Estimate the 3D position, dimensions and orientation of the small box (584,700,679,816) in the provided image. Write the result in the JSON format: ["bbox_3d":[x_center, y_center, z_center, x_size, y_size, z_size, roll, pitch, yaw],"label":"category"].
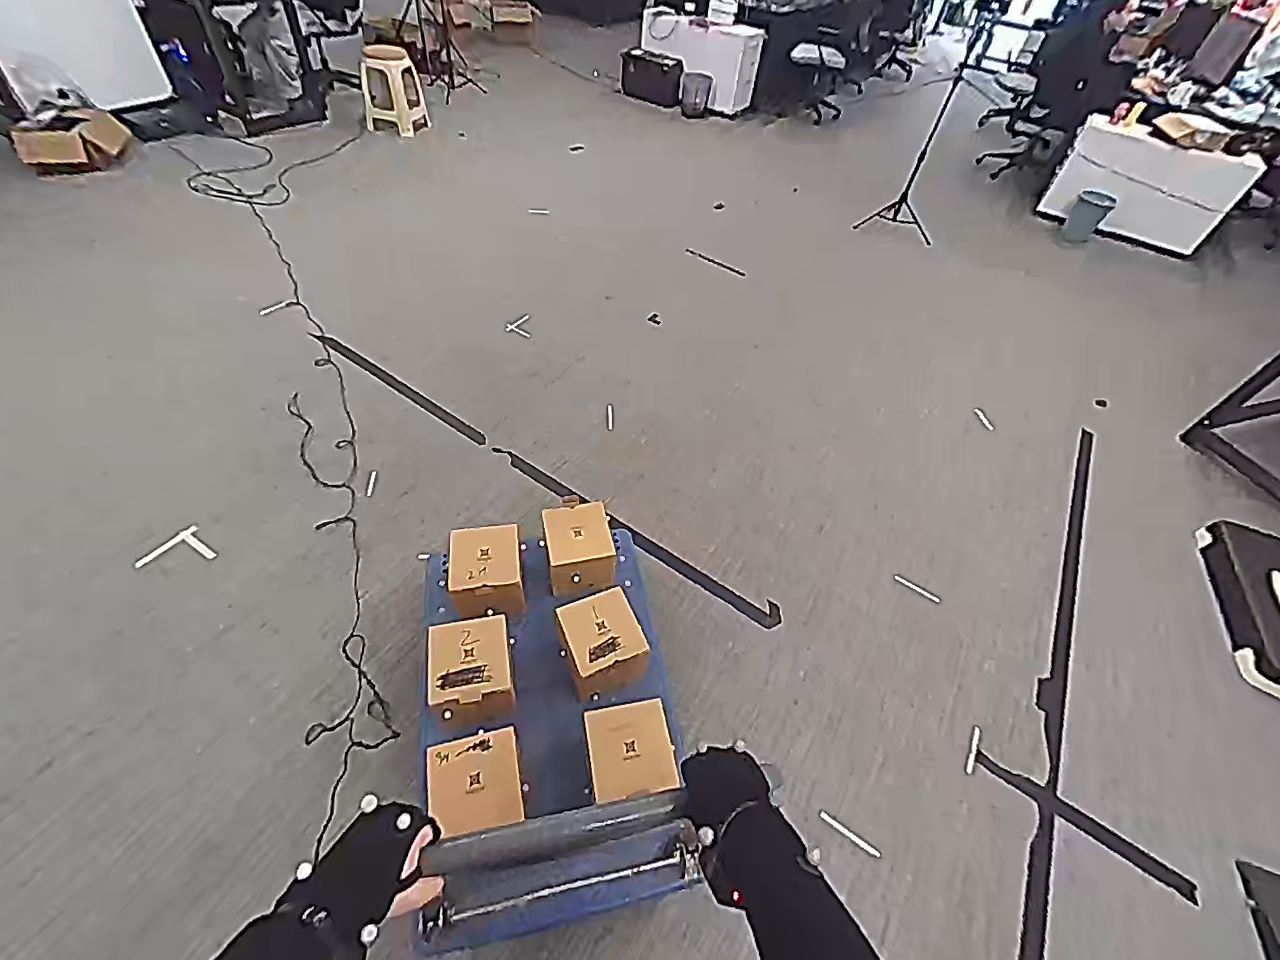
[{"bbox_3d":[-0.026,0.586,1.132,0.168,0.176,0.179,-5,50,-12],"label":"small box"}]

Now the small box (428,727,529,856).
[{"bbox_3d":[-0.315,0.618,1.065,0.168,0.176,0.179,-8,51,-15],"label":"small box"}]

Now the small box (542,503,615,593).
[{"bbox_3d":[-0.167,0.189,1.455,0.168,0.176,0.179,-8,51,-14],"label":"small box"}]

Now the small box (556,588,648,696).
[{"bbox_3d":[-0.093,0.392,1.288,0.168,0.176,0.179,-16,52,-19],"label":"small box"}]

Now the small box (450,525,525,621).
[{"bbox_3d":[-0.385,0.238,1.382,0.168,0.176,0.179,-5,51,-11],"label":"small box"}]
